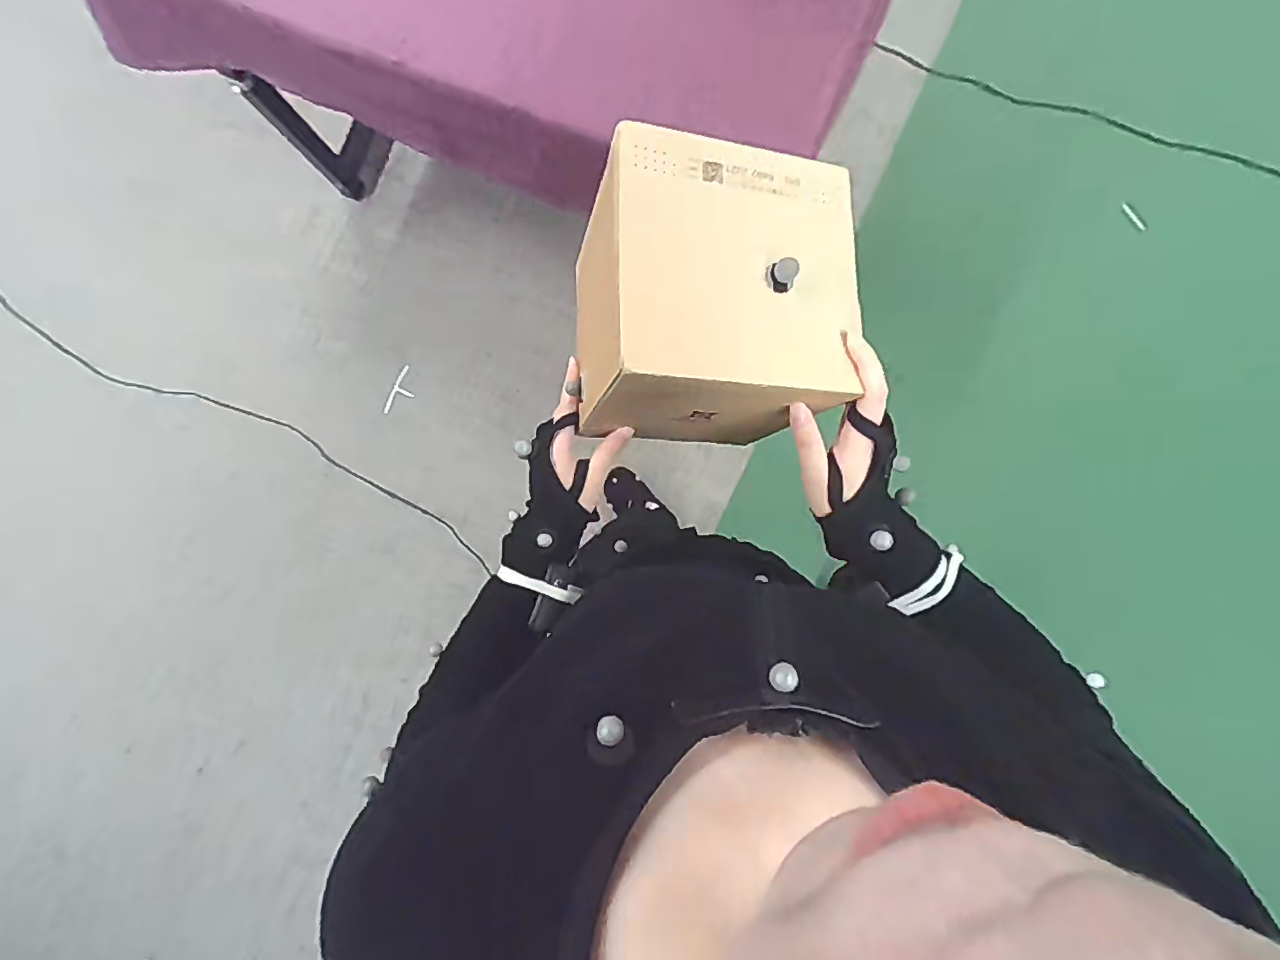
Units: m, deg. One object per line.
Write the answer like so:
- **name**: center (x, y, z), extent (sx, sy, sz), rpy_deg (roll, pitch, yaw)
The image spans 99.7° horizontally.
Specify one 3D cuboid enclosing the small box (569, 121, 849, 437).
- **small box**: center (0.035, -0.136, 0.424), extent (0.168, 0.179, 0.176), rpy_deg (2, 82, -15)
